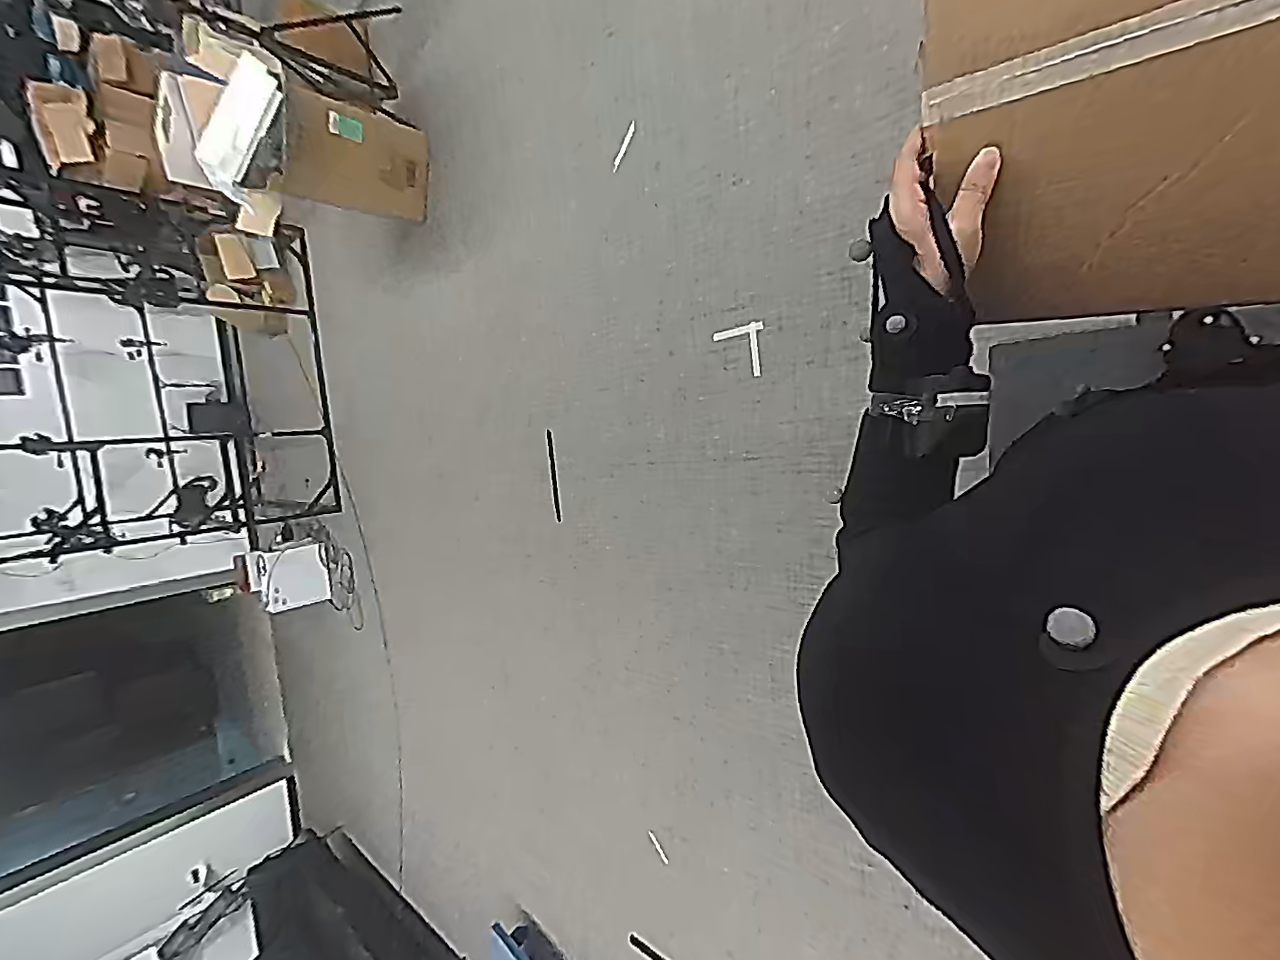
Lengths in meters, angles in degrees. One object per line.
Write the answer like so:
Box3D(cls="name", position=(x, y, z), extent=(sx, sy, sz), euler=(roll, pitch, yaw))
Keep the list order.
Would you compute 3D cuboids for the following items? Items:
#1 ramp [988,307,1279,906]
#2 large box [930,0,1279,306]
Box3D(cls="ramp", position=(0.947, 0.199, 1.021), extent=(0.509, 0.206, 0.991), euler=(-2, 94, 43))
Box3D(cls="large box", position=(0.431, -0.328, 0.315), extent=(0.408, 0.320, 0.320), euler=(8, 130, 43))
